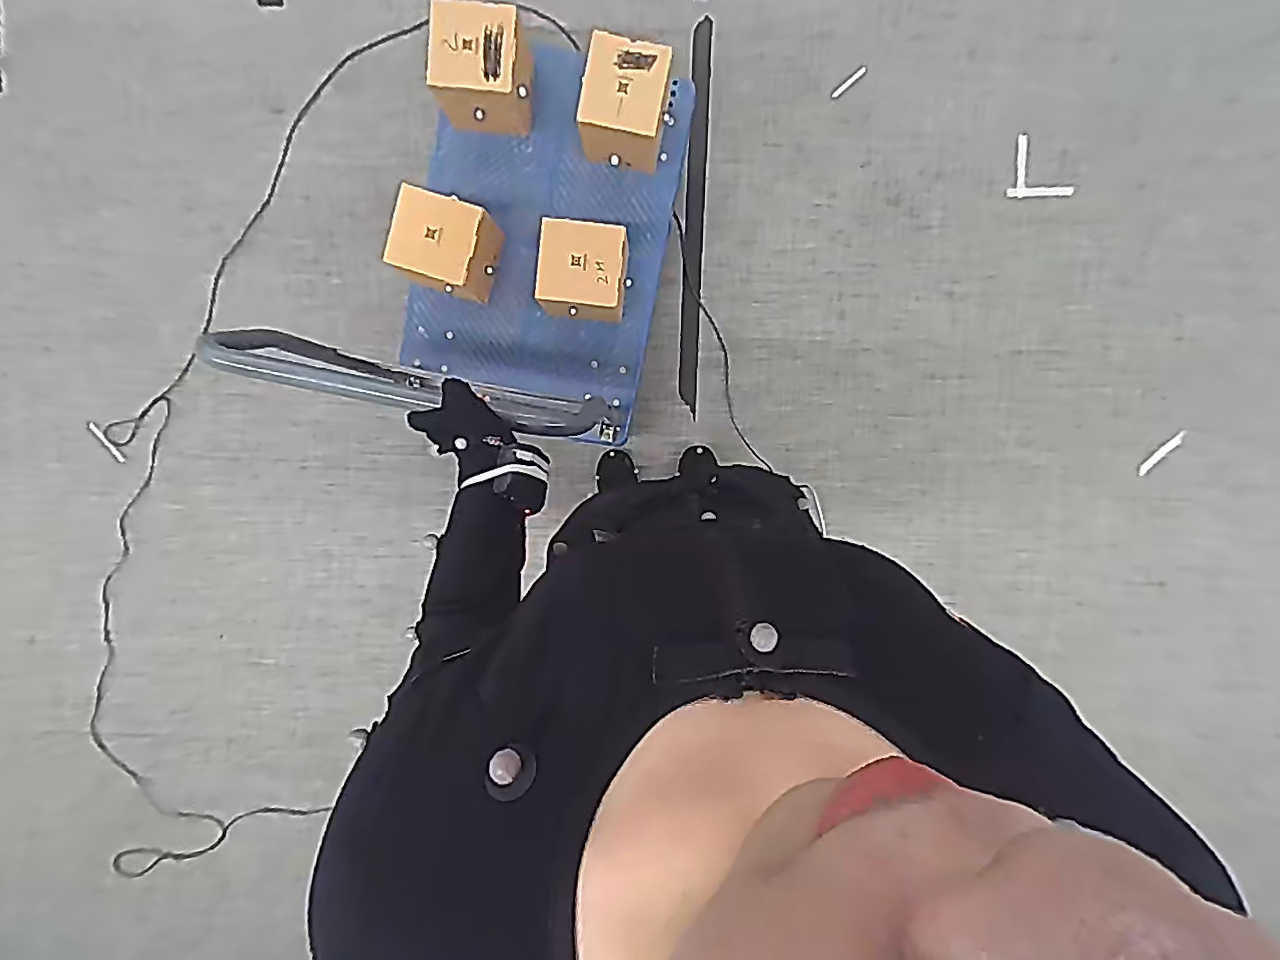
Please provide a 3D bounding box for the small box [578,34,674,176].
[{"bbox_3d":[-0.029,-0.796,1.164,0.168,0.176,0.179,12,96,0],"label":"small box"}]

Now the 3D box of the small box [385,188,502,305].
[{"bbox_3d":[-0.424,-0.504,1.194,0.179,0.176,0.168,16,94,-3],"label":"small box"}]

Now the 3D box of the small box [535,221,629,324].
[{"bbox_3d":[-0.121,-0.450,1.196,0.179,0.176,0.168,7,95,0],"label":"small box"}]
